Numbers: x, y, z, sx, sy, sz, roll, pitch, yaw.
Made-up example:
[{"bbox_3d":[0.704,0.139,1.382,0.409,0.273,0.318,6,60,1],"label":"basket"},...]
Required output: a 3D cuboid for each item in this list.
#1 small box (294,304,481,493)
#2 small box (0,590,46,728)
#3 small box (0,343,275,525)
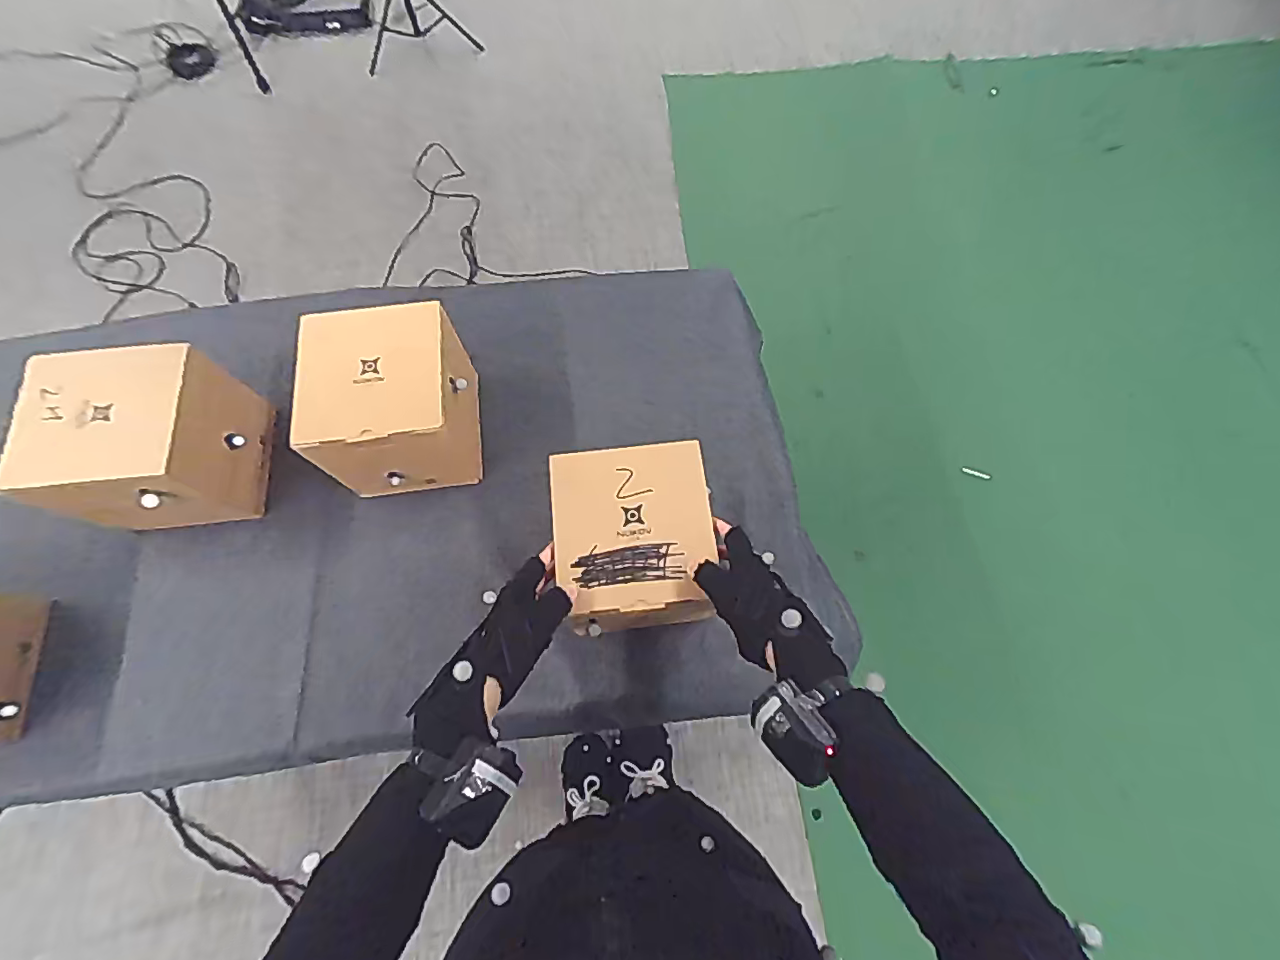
[{"bbox_3d":[-0.307,-0.098,0.695,0.168,0.176,0.179,-7,71,-4],"label":"small box"},{"bbox_3d":[-0.809,0.201,0.569,0.179,0.176,0.168,-7,69,-4],"label":"small box"},{"bbox_3d":[-0.591,-0.049,0.667,0.179,0.176,0.168,-5,70,-3],"label":"small box"}]
